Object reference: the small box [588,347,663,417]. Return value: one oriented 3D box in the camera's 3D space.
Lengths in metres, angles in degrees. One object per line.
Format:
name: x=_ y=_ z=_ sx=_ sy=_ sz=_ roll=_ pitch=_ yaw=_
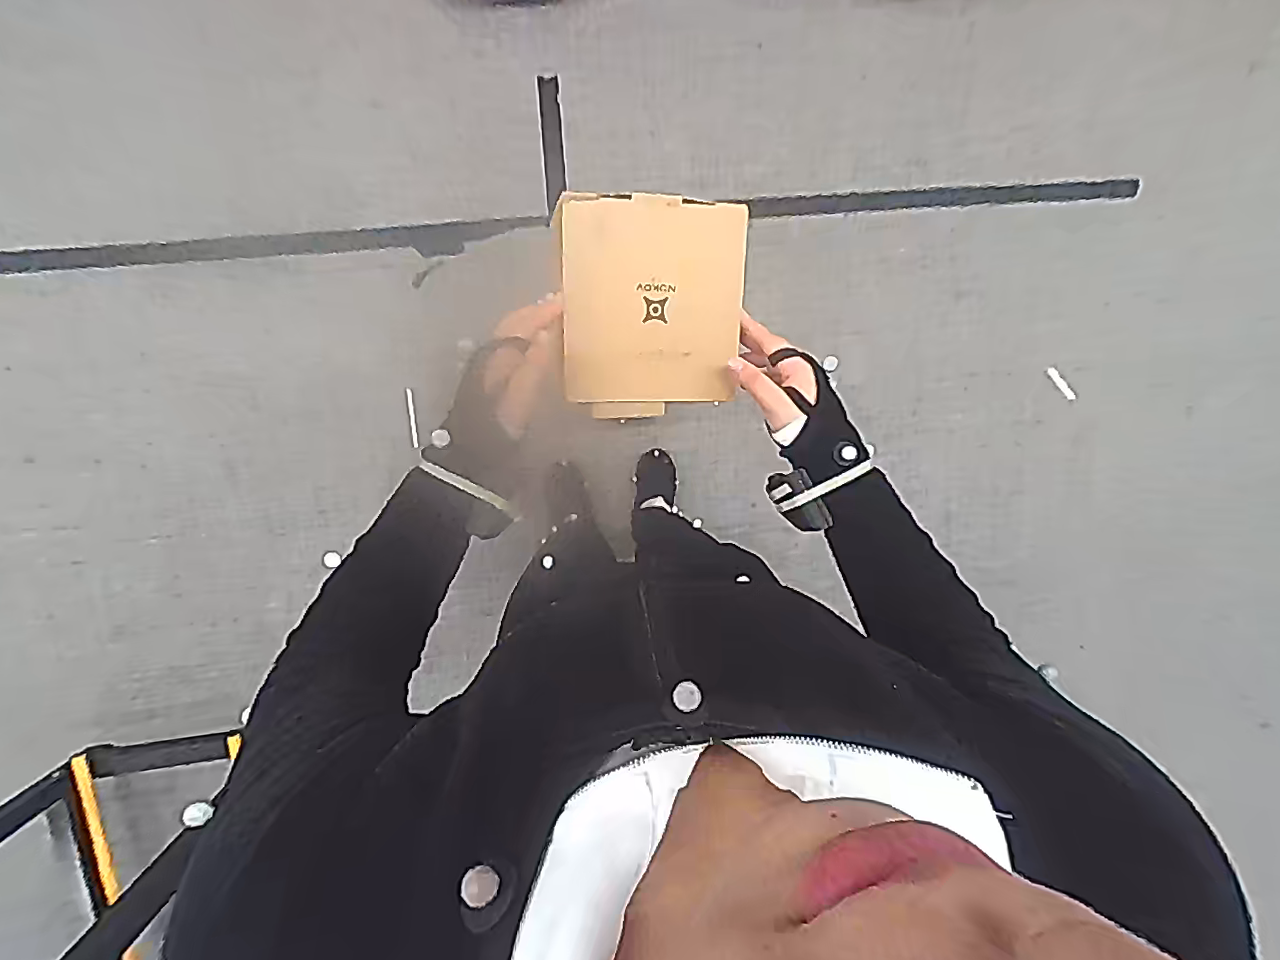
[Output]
small box: x=-0.042 y=-0.242 z=1.361 sx=0.179 sy=0.176 sz=0.168 roll=-3 pitch=98 yaw=-6
